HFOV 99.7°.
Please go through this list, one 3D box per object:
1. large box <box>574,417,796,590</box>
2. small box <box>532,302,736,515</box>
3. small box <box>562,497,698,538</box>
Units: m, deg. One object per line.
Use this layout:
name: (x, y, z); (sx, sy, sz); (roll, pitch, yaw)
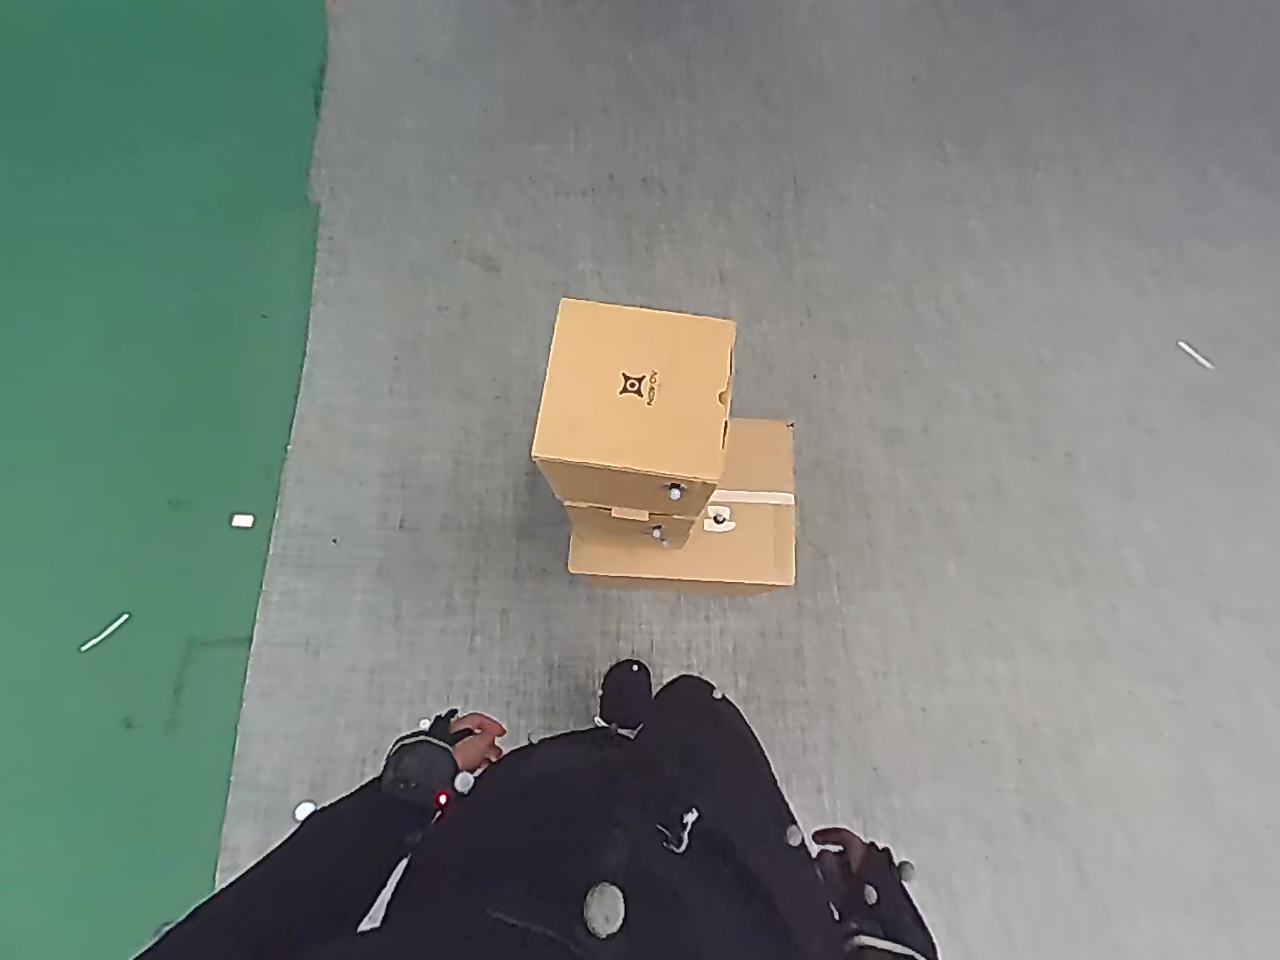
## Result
large box: (0.080, 0.063, 1.136); (0.408, 0.320, 0.320); (3, 76, 0)
small box: (-0.004, -0.065, 0.581); (0.179, 0.176, 0.168); (7, 75, 0)
small box: (-0.005, -0.022, 0.739); (0.168, 0.176, 0.179); (6, 75, 0)
